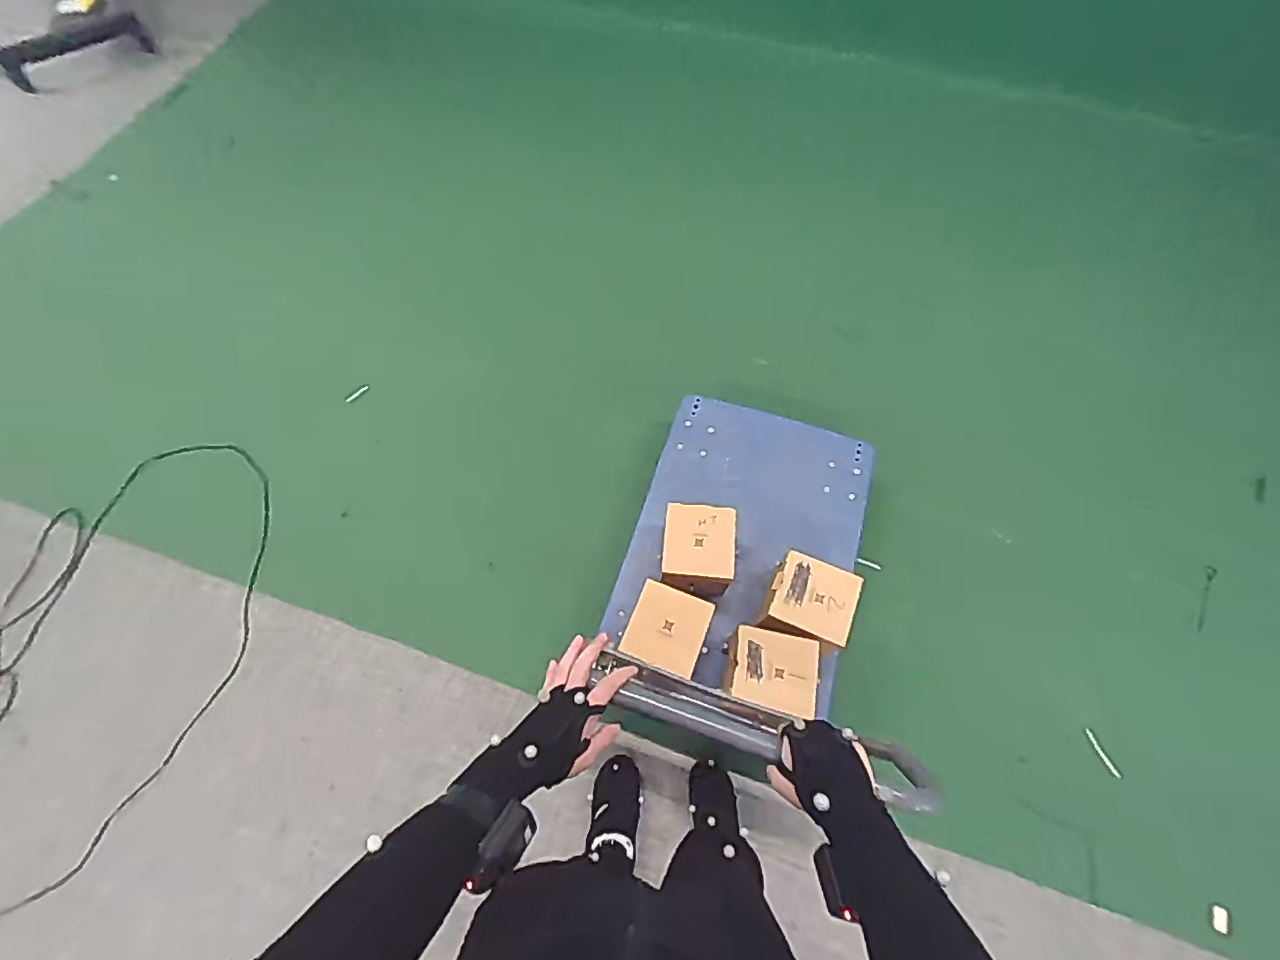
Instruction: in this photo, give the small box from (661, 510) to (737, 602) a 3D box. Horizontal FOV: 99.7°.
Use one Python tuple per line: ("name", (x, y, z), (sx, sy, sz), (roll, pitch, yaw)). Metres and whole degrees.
("small box", (0.141, 0.191, 1.322), (0.168, 0.176, 0.179), (6, 65, 3))
